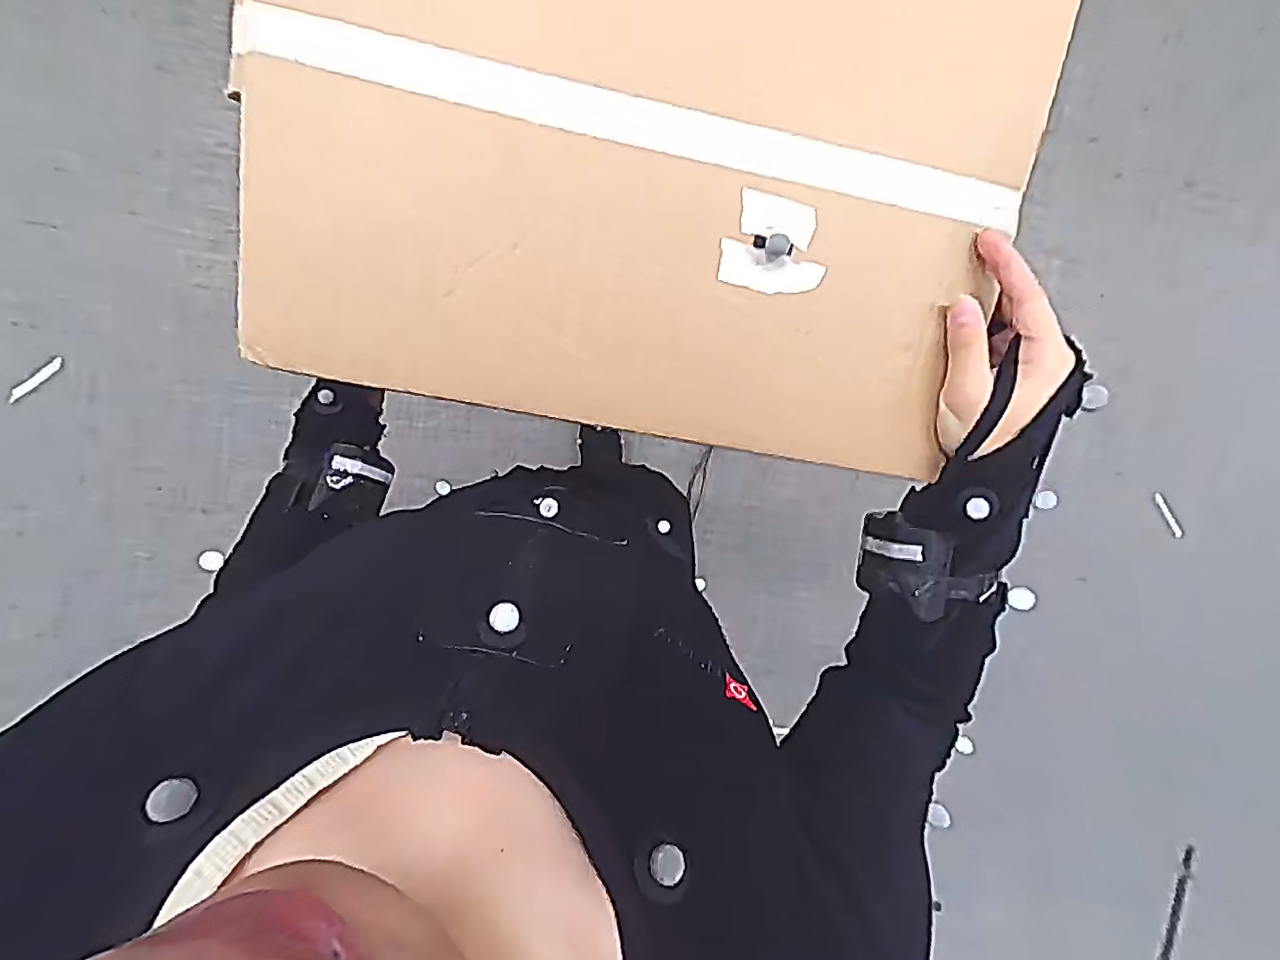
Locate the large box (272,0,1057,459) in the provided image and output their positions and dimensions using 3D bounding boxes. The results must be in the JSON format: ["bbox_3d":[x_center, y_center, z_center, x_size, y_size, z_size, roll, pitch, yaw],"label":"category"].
[{"bbox_3d":[0.000,-0.217,0.436,0.408,0.320,0.320,9,102,-8],"label":"large box"}]
